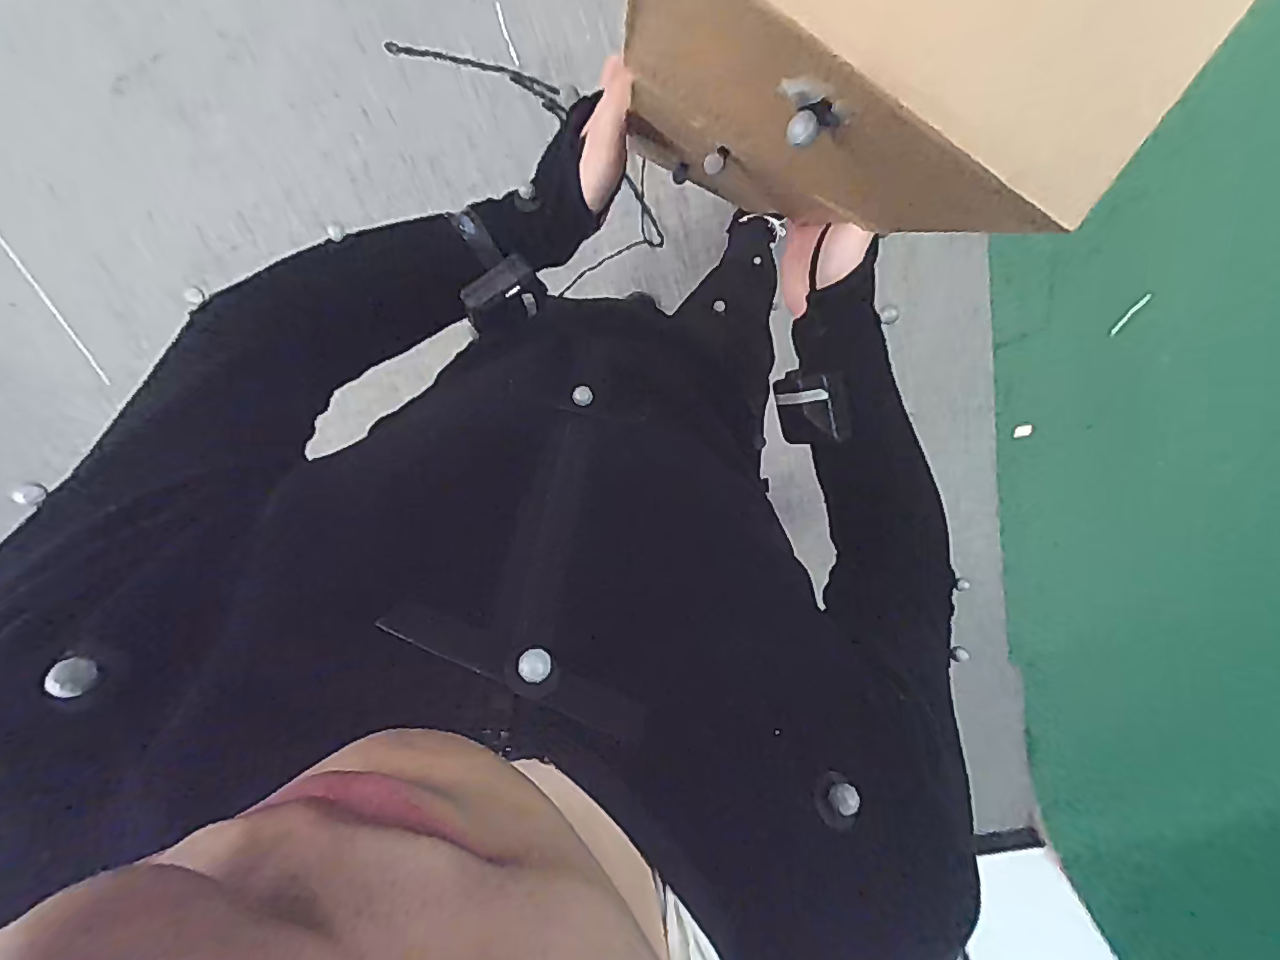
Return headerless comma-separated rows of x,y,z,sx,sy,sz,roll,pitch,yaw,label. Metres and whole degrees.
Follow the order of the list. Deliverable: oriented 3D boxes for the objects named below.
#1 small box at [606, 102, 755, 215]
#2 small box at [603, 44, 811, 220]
0.080,-0.361,0.490,0.168,0.176,0.179,22,112,-13,small box
0.089,-0.283,0.345,0.179,0.176,0.168,23,112,-13,small box
